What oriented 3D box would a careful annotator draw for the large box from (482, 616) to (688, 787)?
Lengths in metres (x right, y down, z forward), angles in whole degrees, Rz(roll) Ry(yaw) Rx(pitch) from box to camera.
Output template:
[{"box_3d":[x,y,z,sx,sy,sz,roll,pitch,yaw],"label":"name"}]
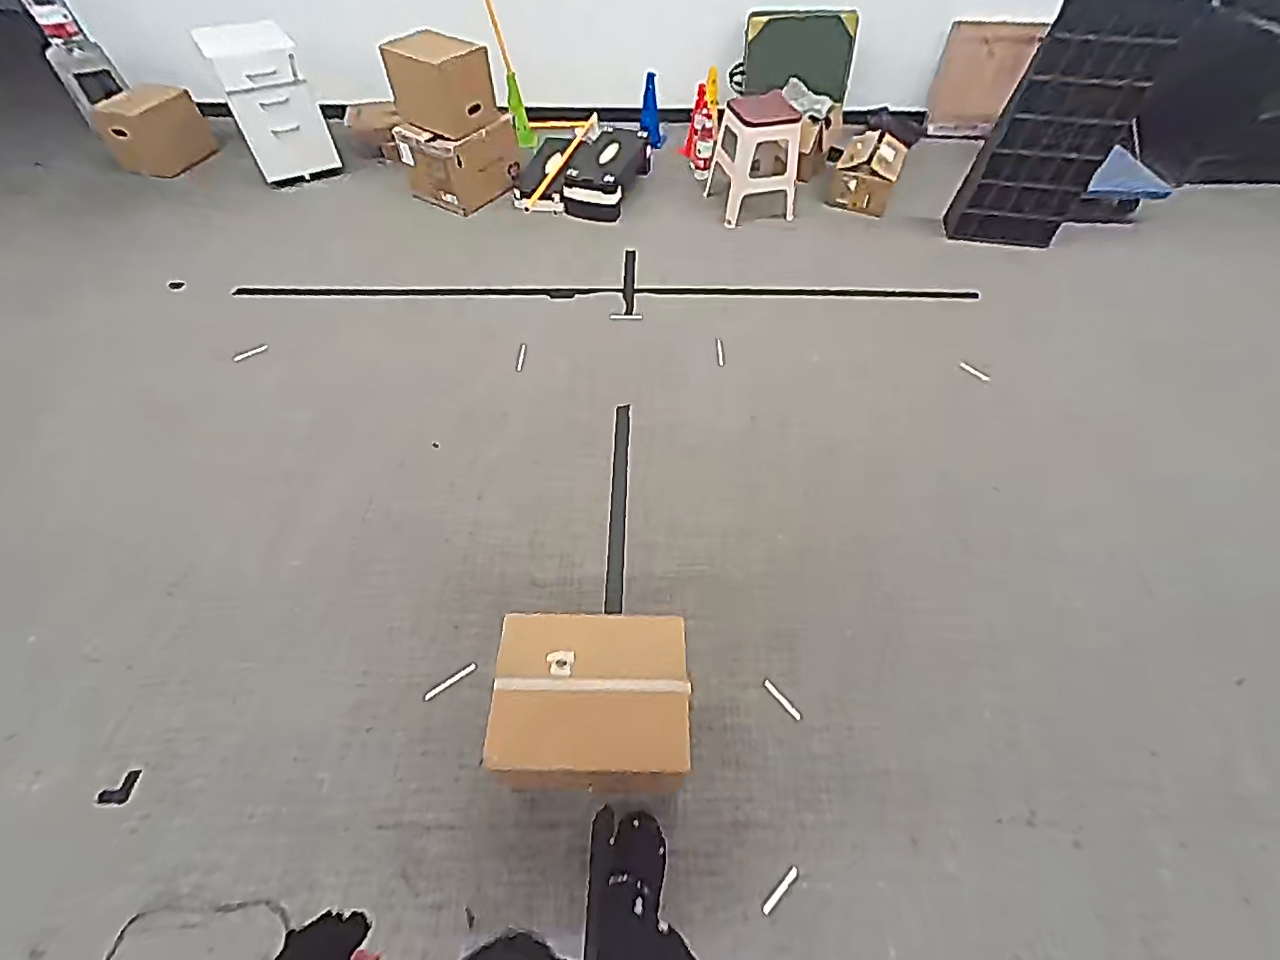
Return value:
[{"box_3d":[-0.105,0.519,1.246,0.408,0.320,0.320,1,53,0],"label":"large box"}]
